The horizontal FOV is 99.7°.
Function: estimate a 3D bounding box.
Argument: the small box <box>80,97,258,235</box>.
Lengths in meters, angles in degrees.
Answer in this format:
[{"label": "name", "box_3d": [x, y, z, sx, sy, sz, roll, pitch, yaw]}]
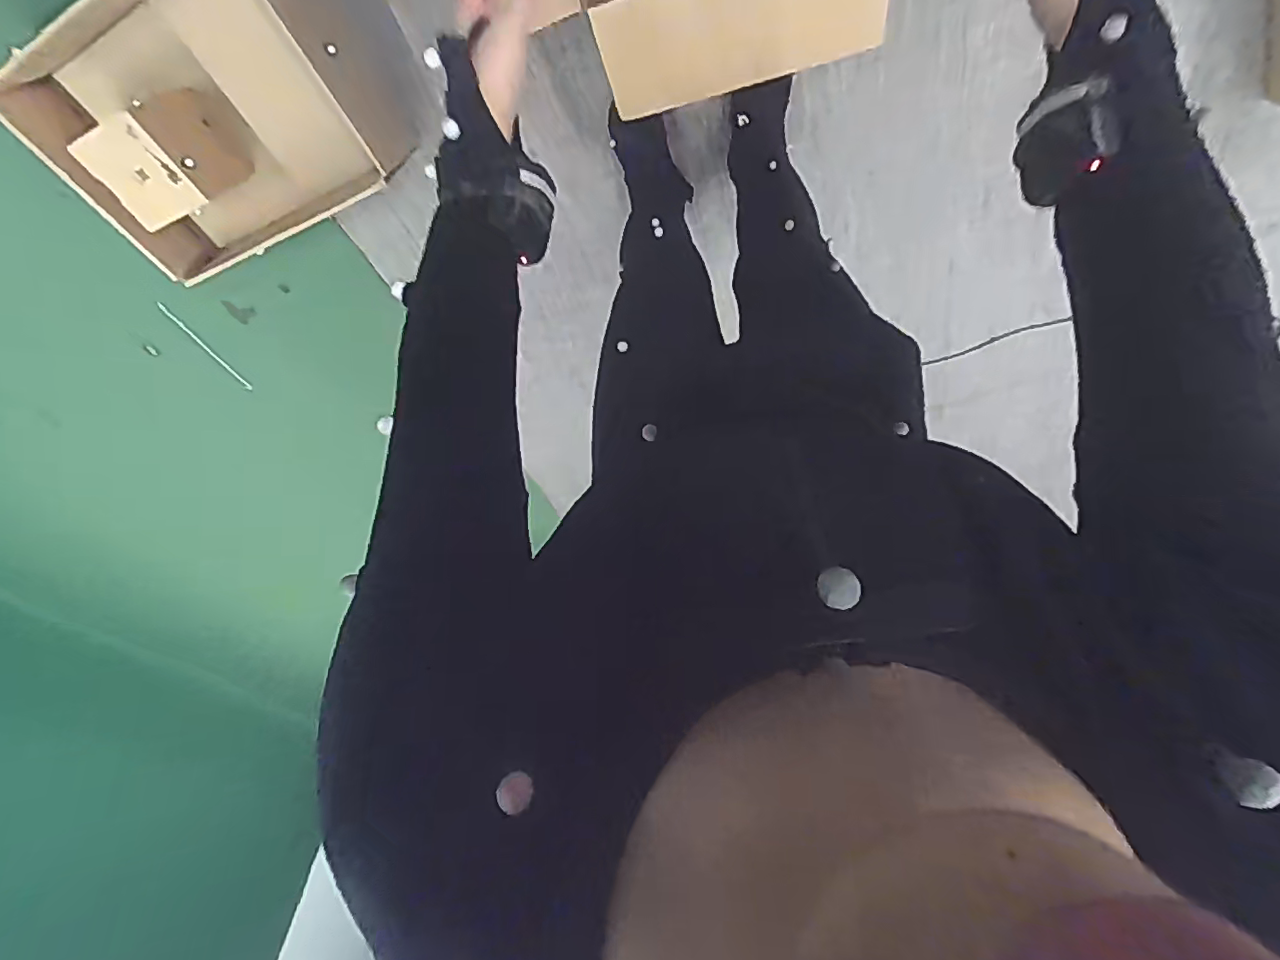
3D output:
[{"label": "small box", "box_3d": [-0.924, -0.627, 1.081, 0.179, 0.176, 0.168, -13, 134, 18]}]
